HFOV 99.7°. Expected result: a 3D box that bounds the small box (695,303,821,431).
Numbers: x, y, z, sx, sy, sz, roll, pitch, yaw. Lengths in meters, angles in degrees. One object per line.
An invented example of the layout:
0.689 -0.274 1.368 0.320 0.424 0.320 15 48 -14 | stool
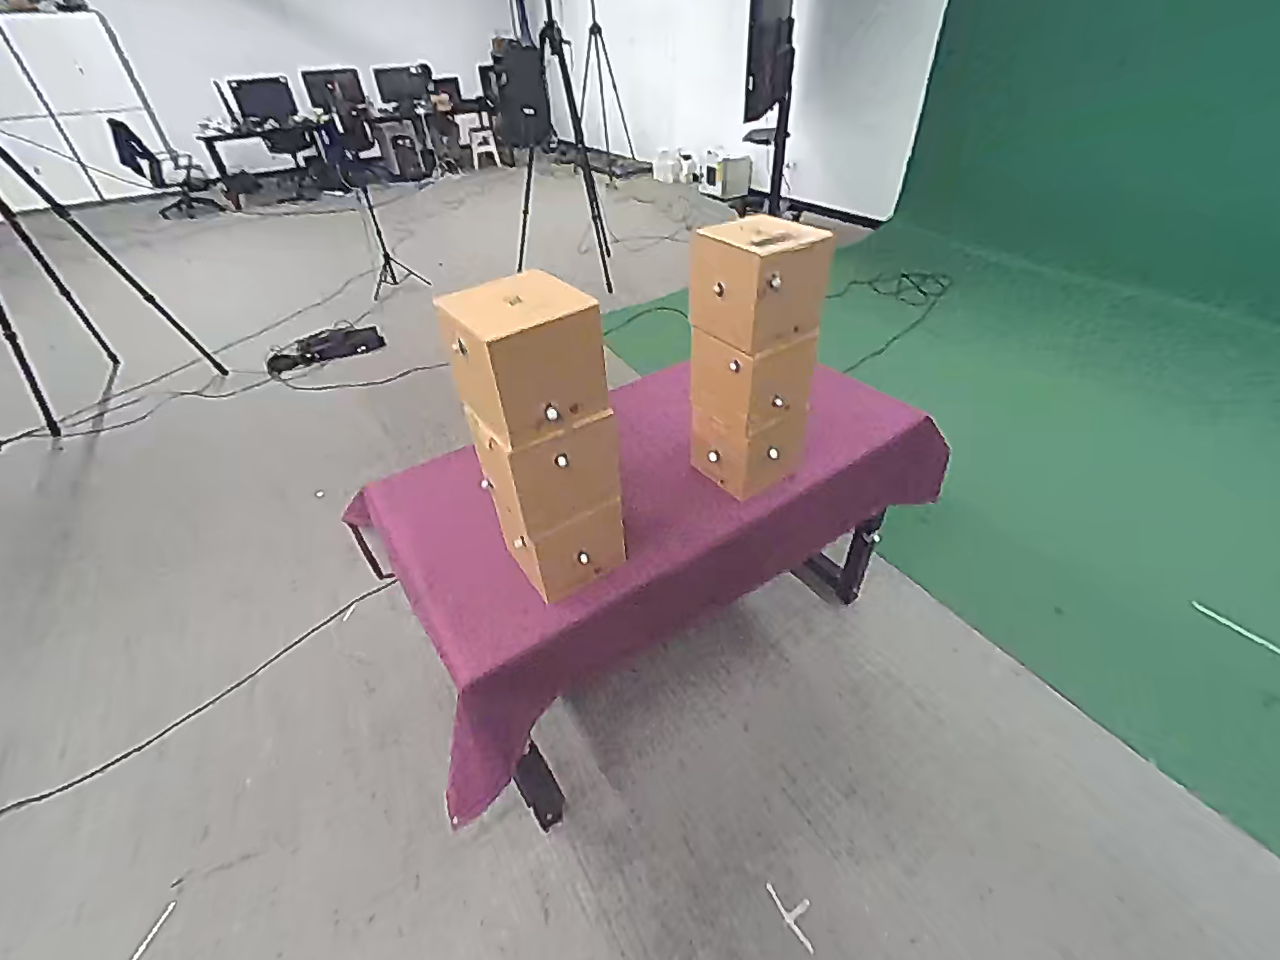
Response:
0.218 -0.222 1.053 0.168 0.176 0.179 -25 45 -24 | small box

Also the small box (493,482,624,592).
-0.140 0.077 0.977 0.168 0.176 0.179 -25 44 -24 | small box

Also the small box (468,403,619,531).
-0.149 -0.048 0.871 0.179 0.176 0.168 -25 45 -25 | small box

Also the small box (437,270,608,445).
-0.162 -0.177 0.772 0.168 0.176 0.179 -28 46 -25 | small box

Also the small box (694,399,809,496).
0.233 -0.095 1.154 0.179 0.176 0.168 -27 46 -24 | small box
